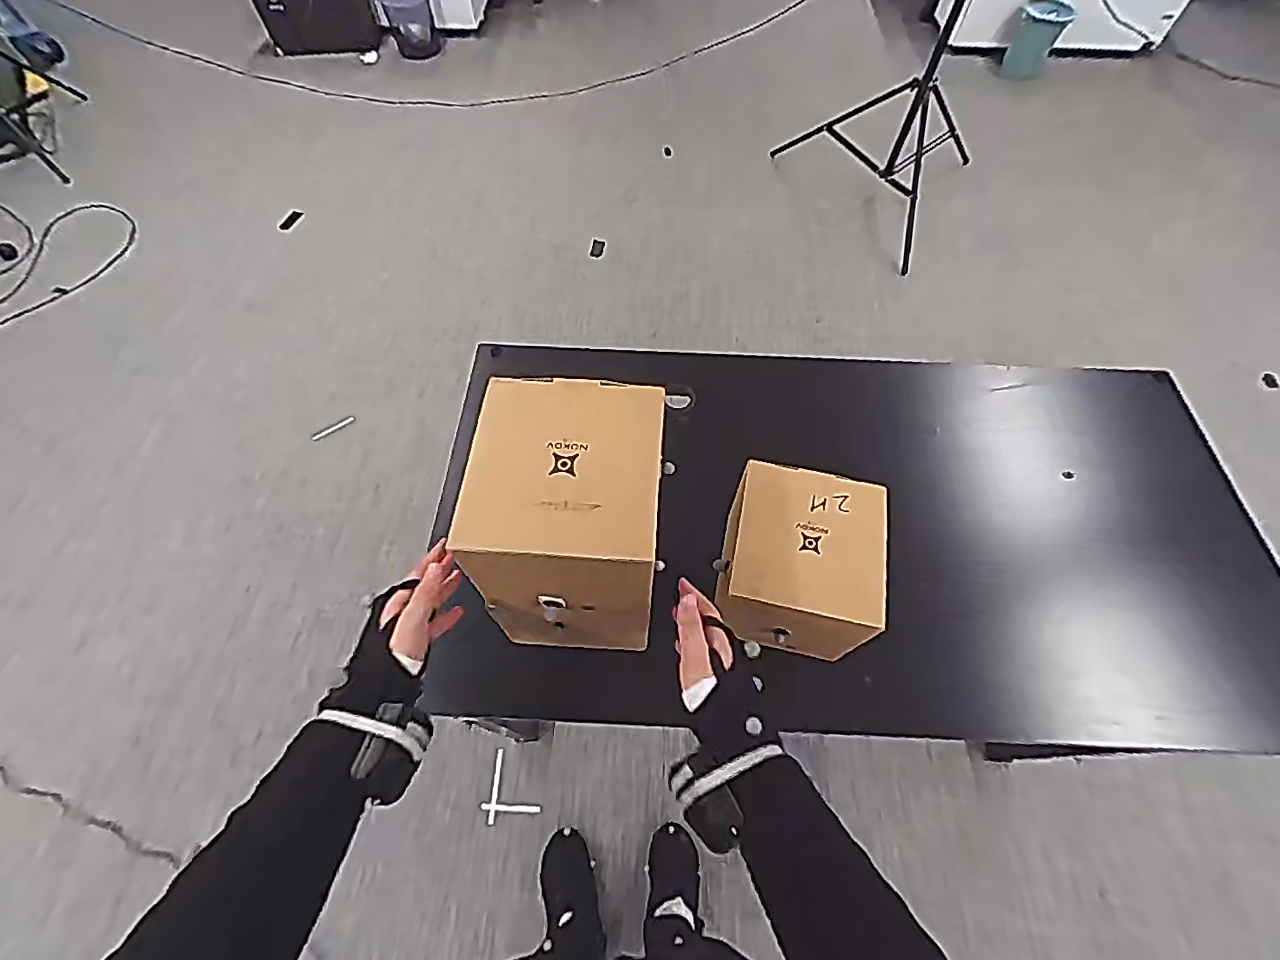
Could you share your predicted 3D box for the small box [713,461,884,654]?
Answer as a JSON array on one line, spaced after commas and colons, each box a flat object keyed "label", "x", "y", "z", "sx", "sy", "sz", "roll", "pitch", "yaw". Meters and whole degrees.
[{"label": "small box", "x": 0.191, "y": 0.105, "z": 0.680, "sx": 0.168, "sy": 0.176, "sz": 0.179, "roll": 12, "pitch": 60, "yaw": 6}]

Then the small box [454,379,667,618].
[{"label": "small box", "x": -0.063, "y": 0.024, "z": 0.536, "sx": 0.168, "sy": 0.176, "sz": 0.179, "roll": 3, "pitch": 61, "yaw": 1}]

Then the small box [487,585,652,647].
[{"label": "small box", "x": -0.072, "y": 0.107, "z": 0.678, "sx": 0.179, "sy": 0.176, "sz": 0.168, "roll": 3, "pitch": 60, "yaw": 1}]
